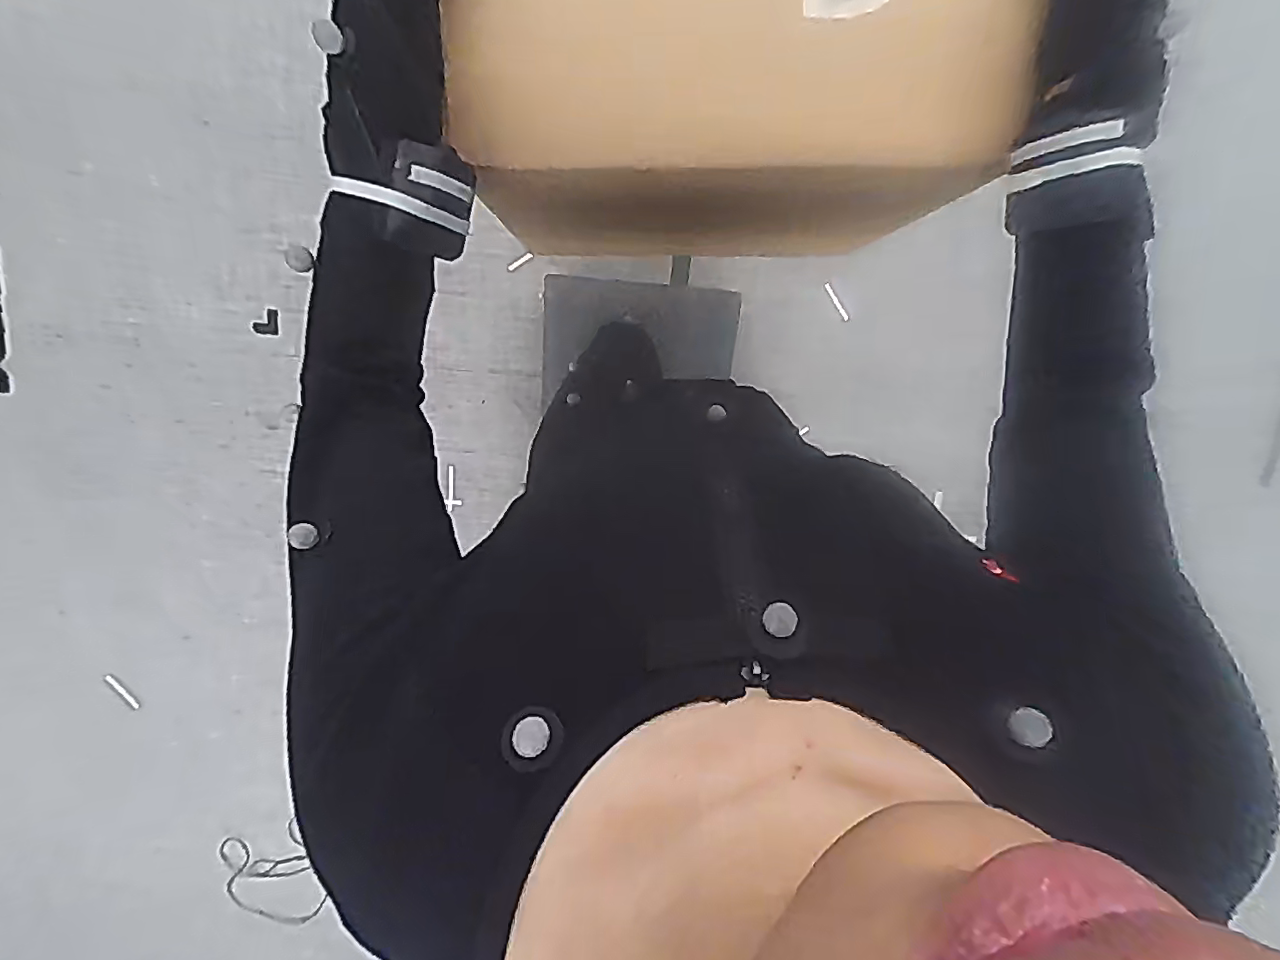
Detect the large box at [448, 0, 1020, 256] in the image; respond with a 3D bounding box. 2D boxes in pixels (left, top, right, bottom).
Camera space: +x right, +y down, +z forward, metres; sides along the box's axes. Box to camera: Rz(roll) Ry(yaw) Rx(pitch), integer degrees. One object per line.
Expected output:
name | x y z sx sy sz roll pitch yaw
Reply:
large box | 0.061 -0.409 0.508 0.408 0.320 0.320 -1 102 -1
